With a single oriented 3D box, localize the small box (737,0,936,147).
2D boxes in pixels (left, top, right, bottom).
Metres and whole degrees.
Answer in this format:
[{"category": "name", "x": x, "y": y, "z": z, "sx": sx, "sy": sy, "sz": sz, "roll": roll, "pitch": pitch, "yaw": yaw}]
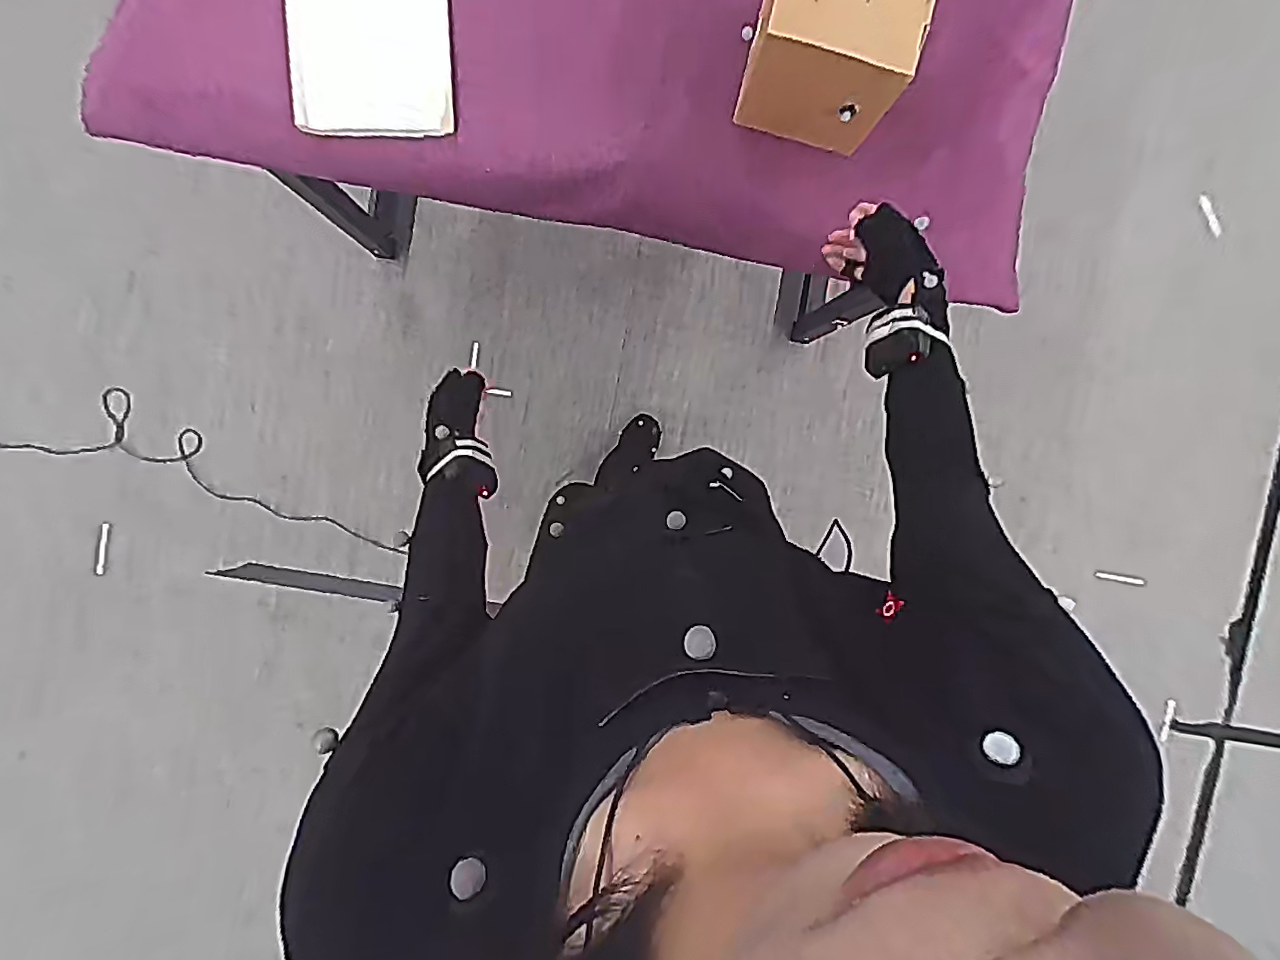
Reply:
[{"category": "small box", "x": 0.237, "y": -0.549, "z": 0.666, "sx": 0.179, "sy": 0.176, "sz": 0.168, "roll": 13, "pitch": 91, "yaw": -3}]
